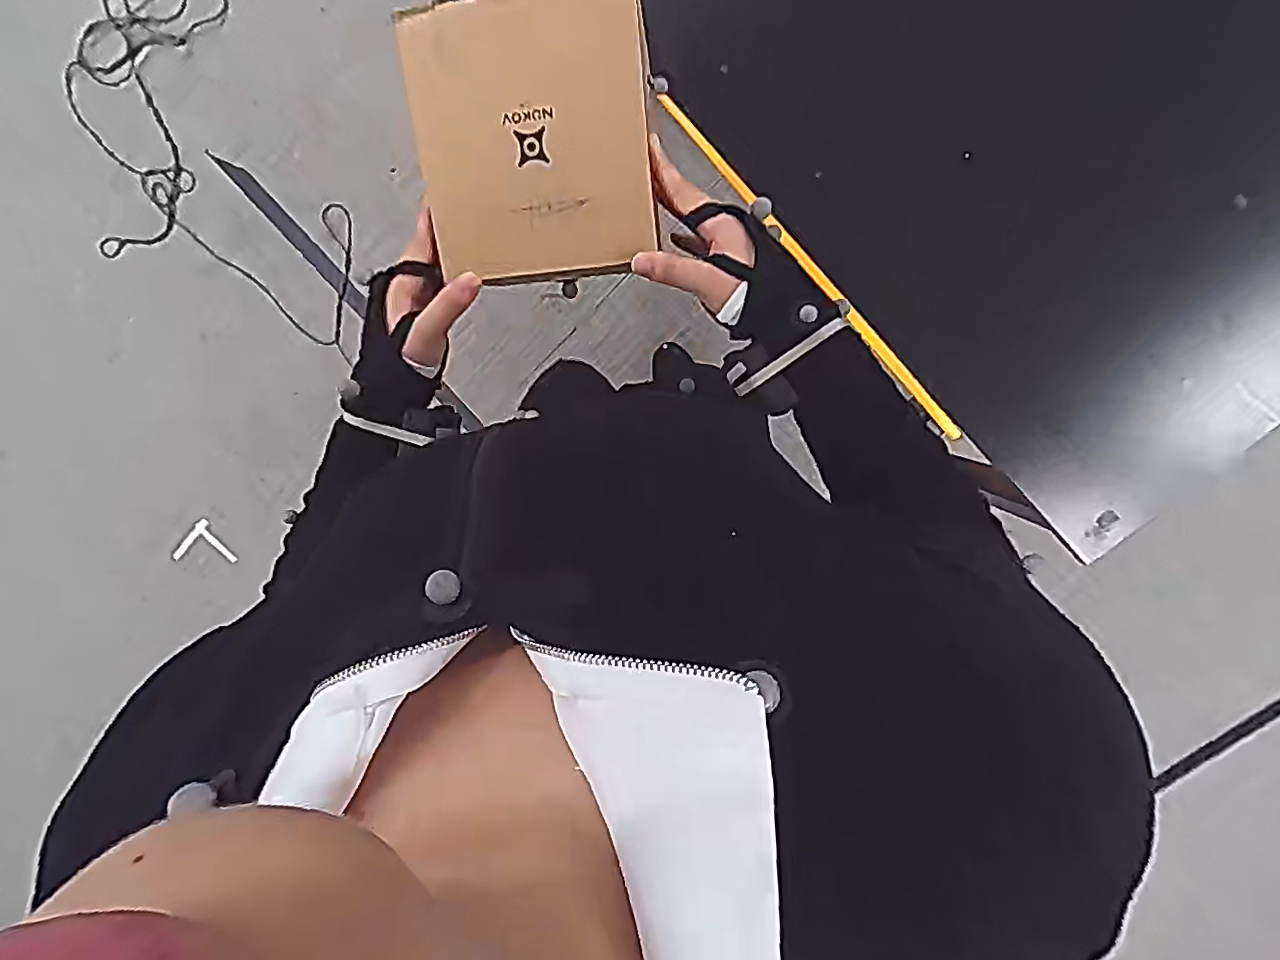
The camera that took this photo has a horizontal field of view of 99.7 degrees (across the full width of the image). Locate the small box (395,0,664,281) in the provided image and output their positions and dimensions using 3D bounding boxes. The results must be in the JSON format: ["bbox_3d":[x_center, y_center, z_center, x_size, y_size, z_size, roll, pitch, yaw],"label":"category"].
[{"bbox_3d":[-0.069,-0.265,0.449,0.168,0.176,0.179,-3,110,6],"label":"small box"}]
